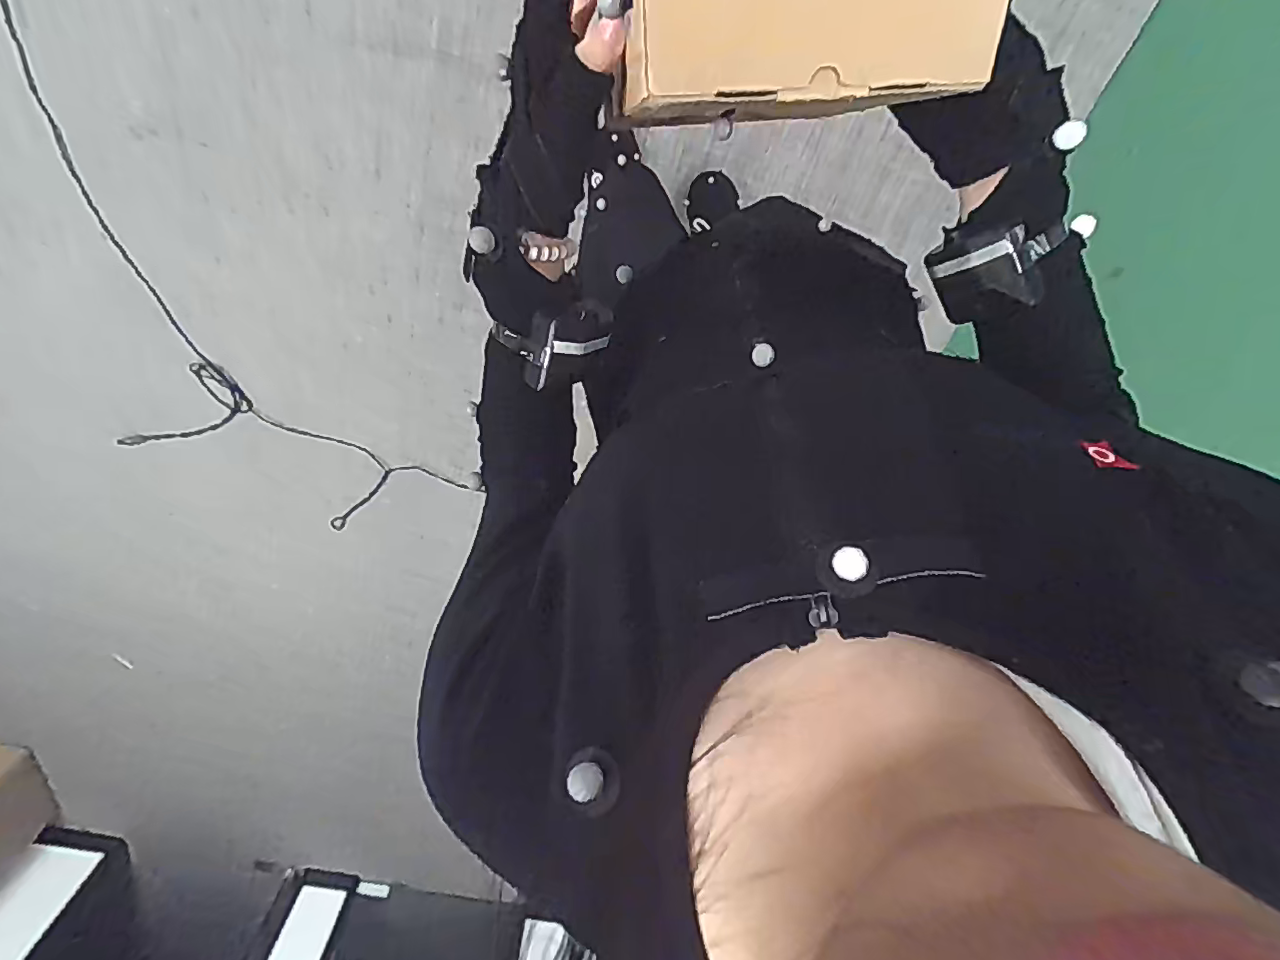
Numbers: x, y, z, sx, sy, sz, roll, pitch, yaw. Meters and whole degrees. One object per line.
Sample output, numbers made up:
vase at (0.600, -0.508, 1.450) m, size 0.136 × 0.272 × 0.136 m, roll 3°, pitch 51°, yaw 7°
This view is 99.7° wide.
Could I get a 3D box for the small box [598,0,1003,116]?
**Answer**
small box at (0.065, -0.293, 0.268) m, size 0.168 × 0.176 × 0.179 m, roll -7°, pitch 123°, yaw -7°
